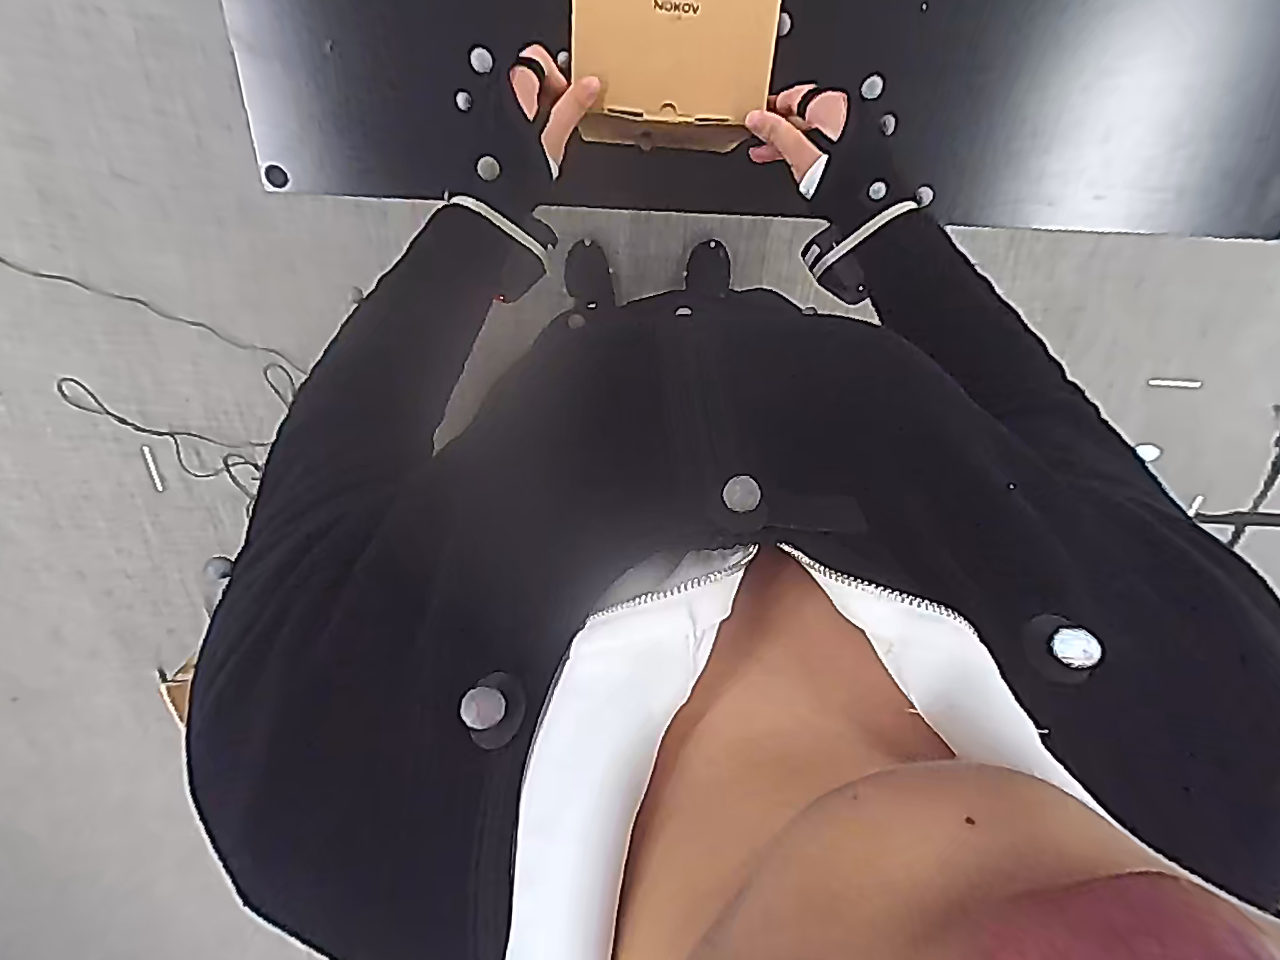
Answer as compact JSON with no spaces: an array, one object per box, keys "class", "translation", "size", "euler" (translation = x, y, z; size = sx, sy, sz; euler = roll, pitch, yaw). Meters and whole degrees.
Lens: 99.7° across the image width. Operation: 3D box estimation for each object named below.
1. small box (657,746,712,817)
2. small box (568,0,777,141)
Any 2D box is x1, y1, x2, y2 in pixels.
[{"class":"small box","translation":[0.161,1.118,2.009],"size":[0.179,0.176,0.168],"euler":[4,114,-3]},{"class":"small box","translation":[0.023,-0.423,0.486],"size":[0.168,0.176,0.179],"euler":[2,116,-3]}]
